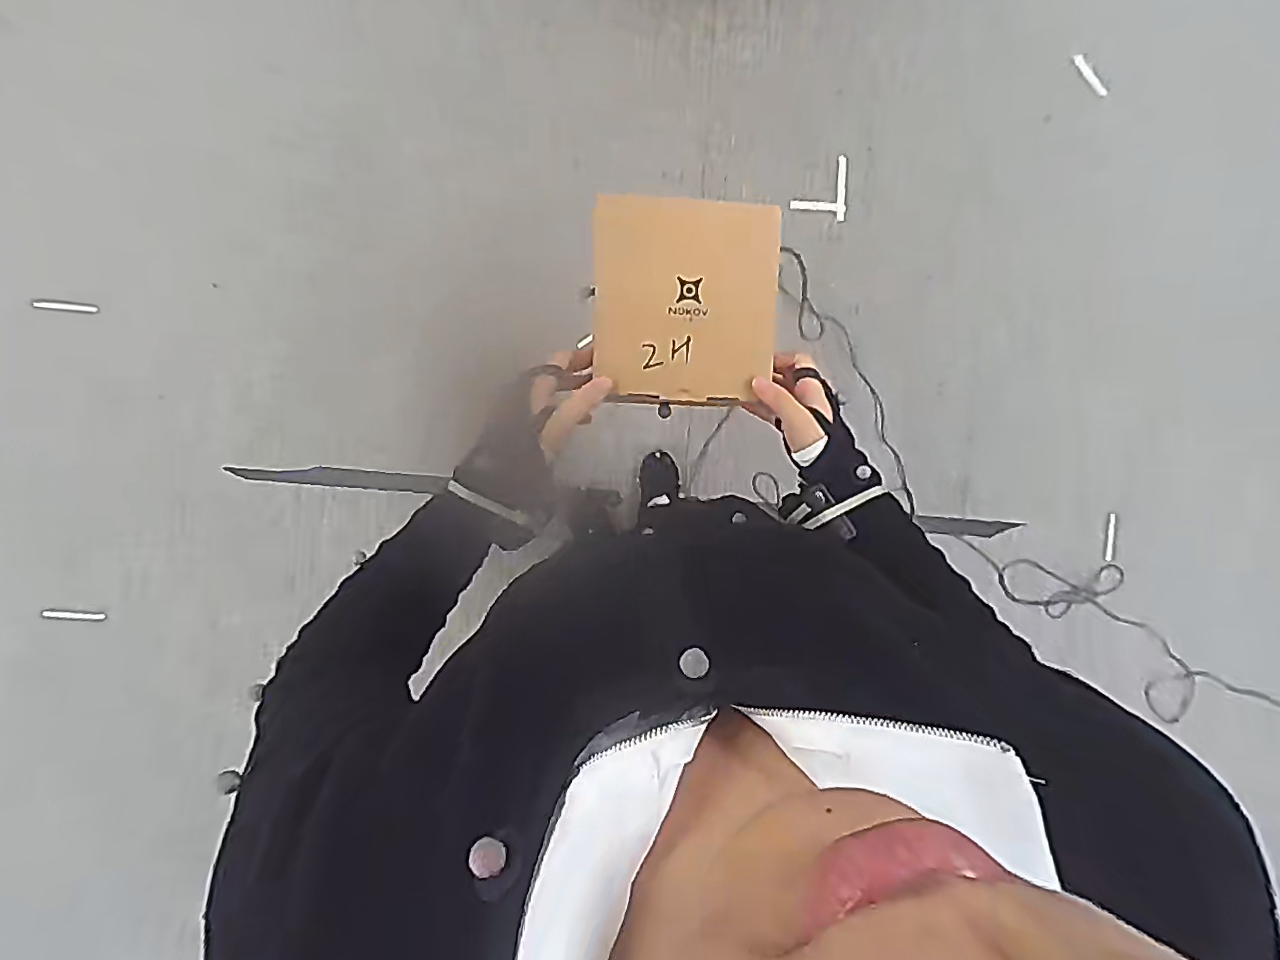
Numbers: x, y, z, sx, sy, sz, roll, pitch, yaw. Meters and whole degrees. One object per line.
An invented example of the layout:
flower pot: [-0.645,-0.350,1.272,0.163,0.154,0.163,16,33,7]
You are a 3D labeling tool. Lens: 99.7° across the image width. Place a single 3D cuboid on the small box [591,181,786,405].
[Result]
small box: [0.036,-0.172,0.555,0.168,0.176,0.179,2,96,-6]
